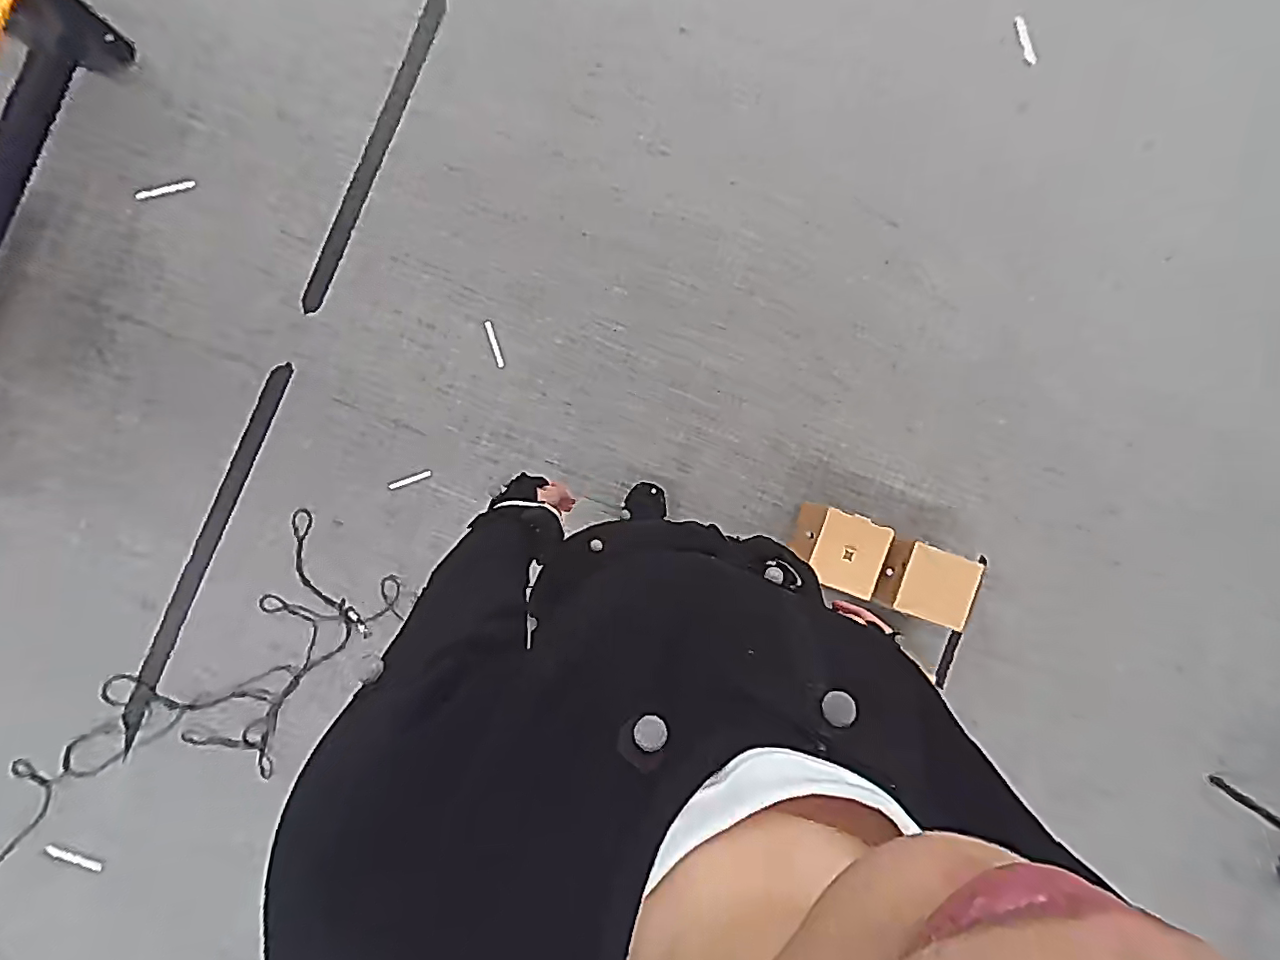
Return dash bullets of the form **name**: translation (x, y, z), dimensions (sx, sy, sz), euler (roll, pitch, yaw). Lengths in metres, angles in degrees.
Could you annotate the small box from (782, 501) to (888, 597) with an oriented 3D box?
- **small box**: translation (0.468, 0.162, 1.331), dimensions (0.168, 0.176, 0.179), euler (21, 89, -3)
